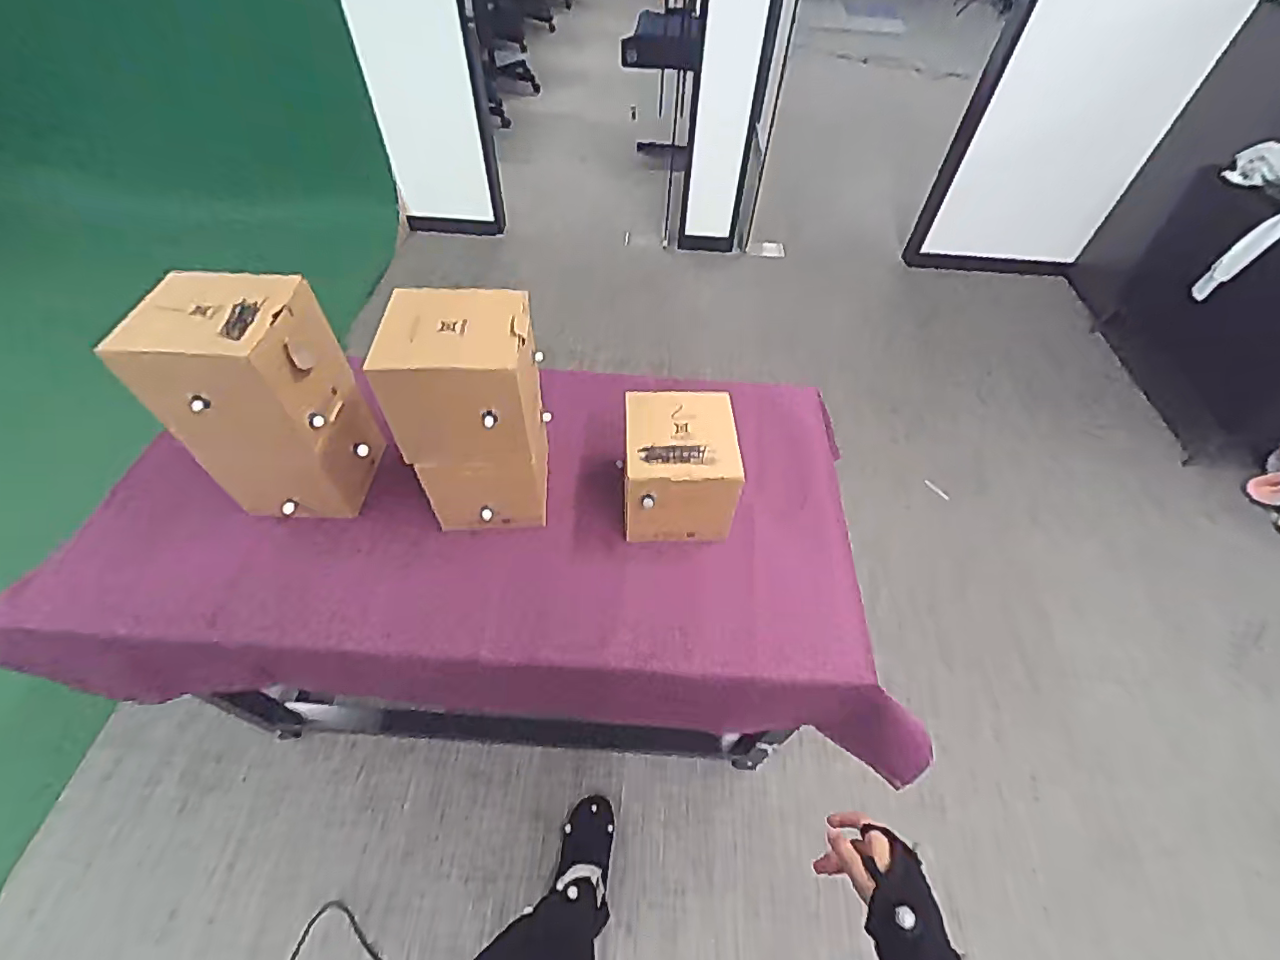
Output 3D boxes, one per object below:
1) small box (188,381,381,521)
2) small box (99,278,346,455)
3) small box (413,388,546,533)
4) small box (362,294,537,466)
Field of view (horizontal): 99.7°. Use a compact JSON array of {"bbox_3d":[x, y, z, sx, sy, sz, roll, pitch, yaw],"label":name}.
[{"bbox_3d":[-0.542,-0.047,0.860,0.179,0.176,0.168,3,52,-2],"label":"small box"},{"bbox_3d":[-0.534,-0.147,0.730,0.179,0.176,0.168,2,52,0],"label":"small box"},{"bbox_3d":[-0.243,-0.033,0.866,0.168,0.176,0.179,-2,53,-4],"label":"small box"},{"bbox_3d":[-0.239,-0.131,0.735,0.179,0.176,0.168,-1,51,-3],"label":"small box"}]
